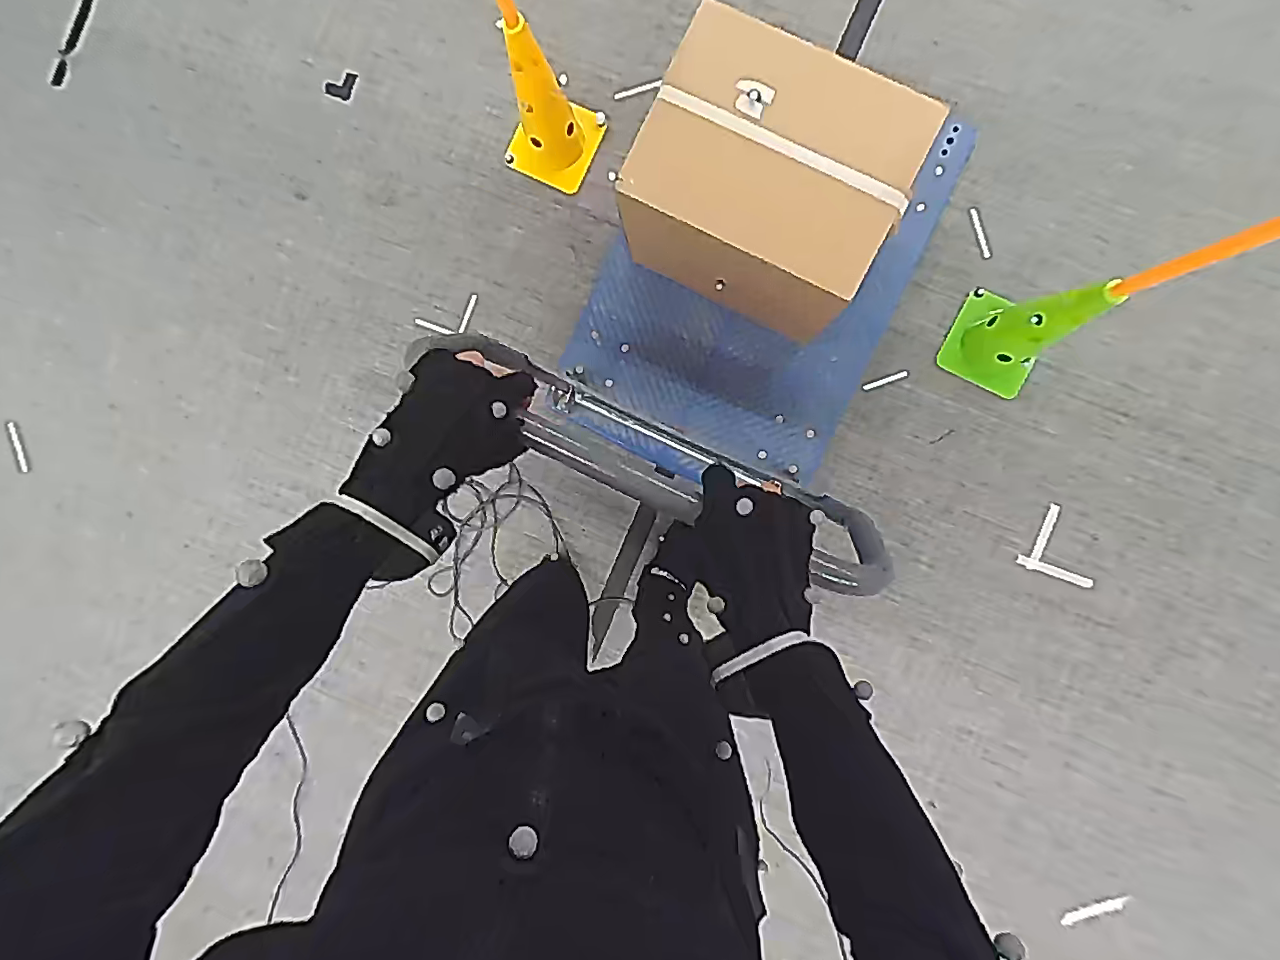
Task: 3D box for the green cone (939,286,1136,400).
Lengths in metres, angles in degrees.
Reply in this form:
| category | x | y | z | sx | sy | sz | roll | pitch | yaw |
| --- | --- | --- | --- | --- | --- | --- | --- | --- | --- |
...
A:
| category | x | y | z | sx | sy | sz | roll | pitch | yaw |
| --- | --- | --- | --- | --- | --- | --- | --- | --- | --- |
| green cone | 0.803 | -0.303 | 1.068 | 0.202 | 0.368 | 0.200 | 27 | 93 | 2 |

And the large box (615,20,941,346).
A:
| category | x | y | z | sx | sy | sz | roll | pitch | yaw |
| --- | --- | --- | --- | --- | --- | --- | --- | --- | --- |
| large box | 0.220 | -0.485 | 0.968 | 0.408 | 0.320 | 0.320 | 28 | 93 | 4 |
